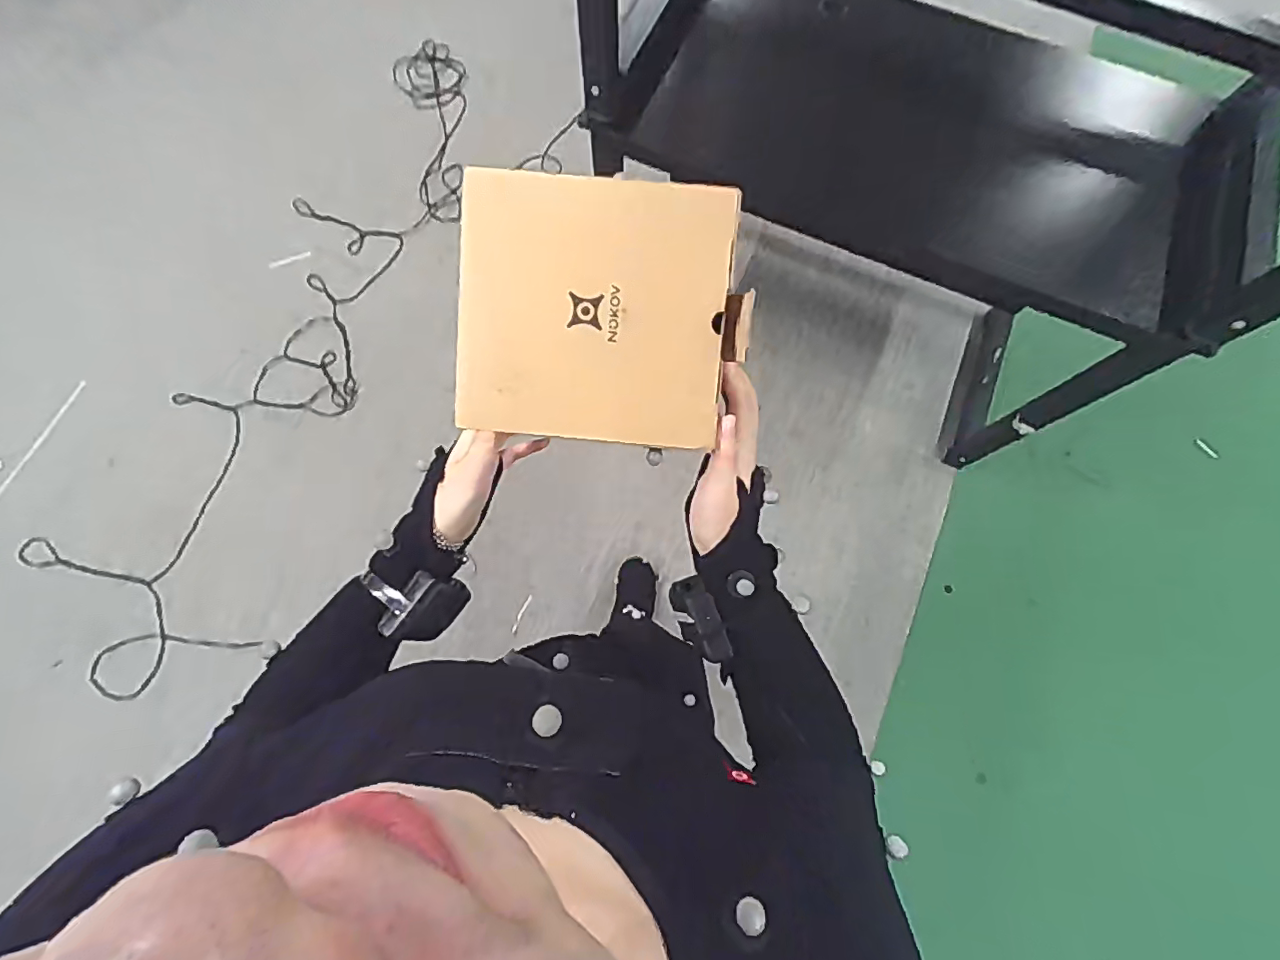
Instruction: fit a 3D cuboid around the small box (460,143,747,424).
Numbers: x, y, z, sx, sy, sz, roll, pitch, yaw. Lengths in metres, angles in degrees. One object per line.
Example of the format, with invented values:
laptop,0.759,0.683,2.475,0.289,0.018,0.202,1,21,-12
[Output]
small box,-0.024,-0.133,0.425,0.179,0.176,0.168,5,97,0
